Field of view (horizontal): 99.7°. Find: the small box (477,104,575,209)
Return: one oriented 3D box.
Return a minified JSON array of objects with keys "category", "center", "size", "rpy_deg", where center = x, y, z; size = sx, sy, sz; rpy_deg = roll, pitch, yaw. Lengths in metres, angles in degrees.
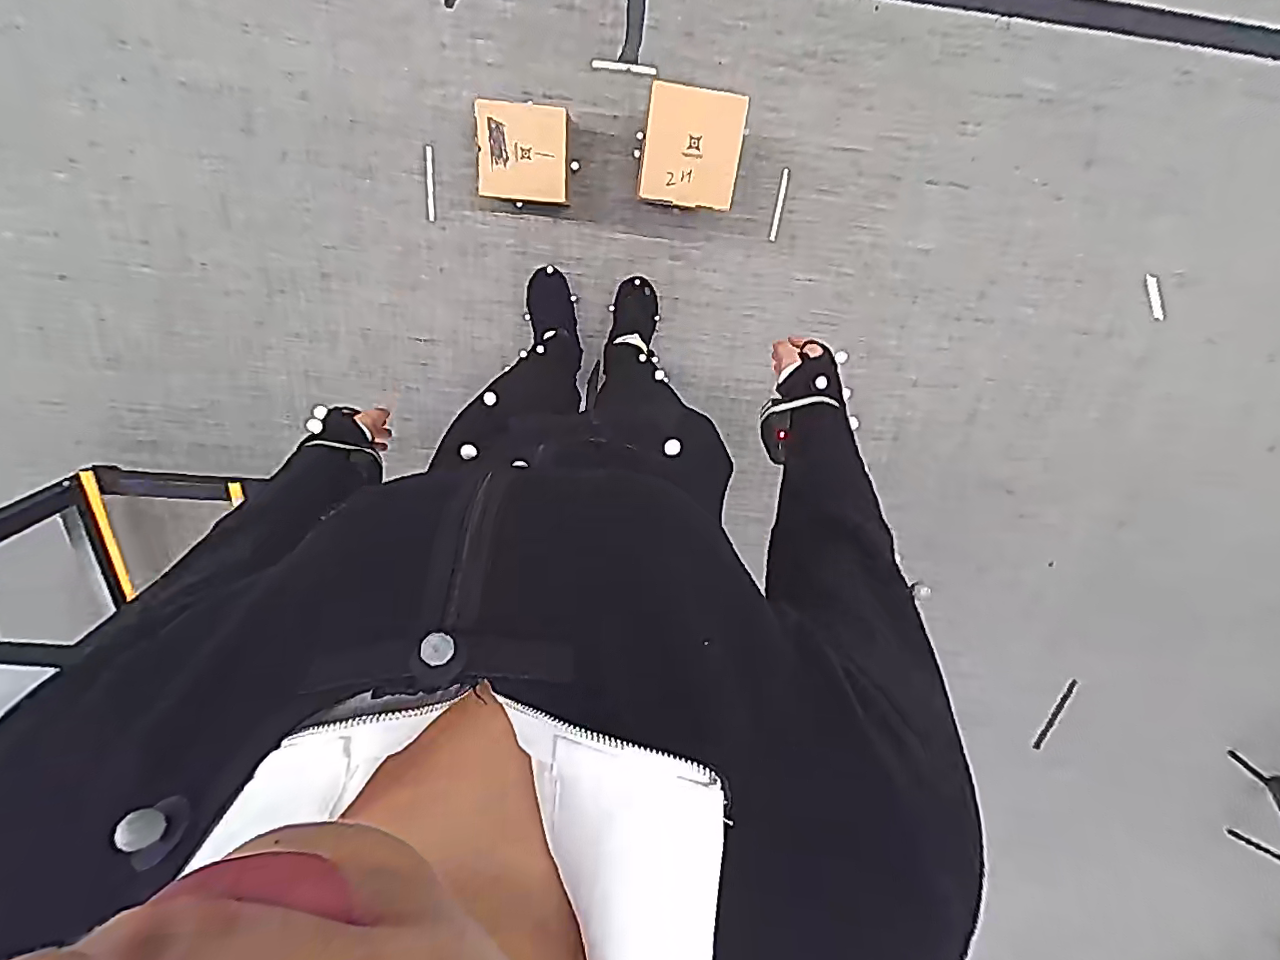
[{"category":"small box","center":[-0.235,-0.672,1.141],"size":[0.179,0.176,0.168],"rpy_deg":[3,116,-4]}]

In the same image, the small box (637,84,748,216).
[{"category":"small box","center":[0.087,-0.600,1.004],"size":[0.168,0.176,0.179],"rpy_deg":[6,116,-5]}]
